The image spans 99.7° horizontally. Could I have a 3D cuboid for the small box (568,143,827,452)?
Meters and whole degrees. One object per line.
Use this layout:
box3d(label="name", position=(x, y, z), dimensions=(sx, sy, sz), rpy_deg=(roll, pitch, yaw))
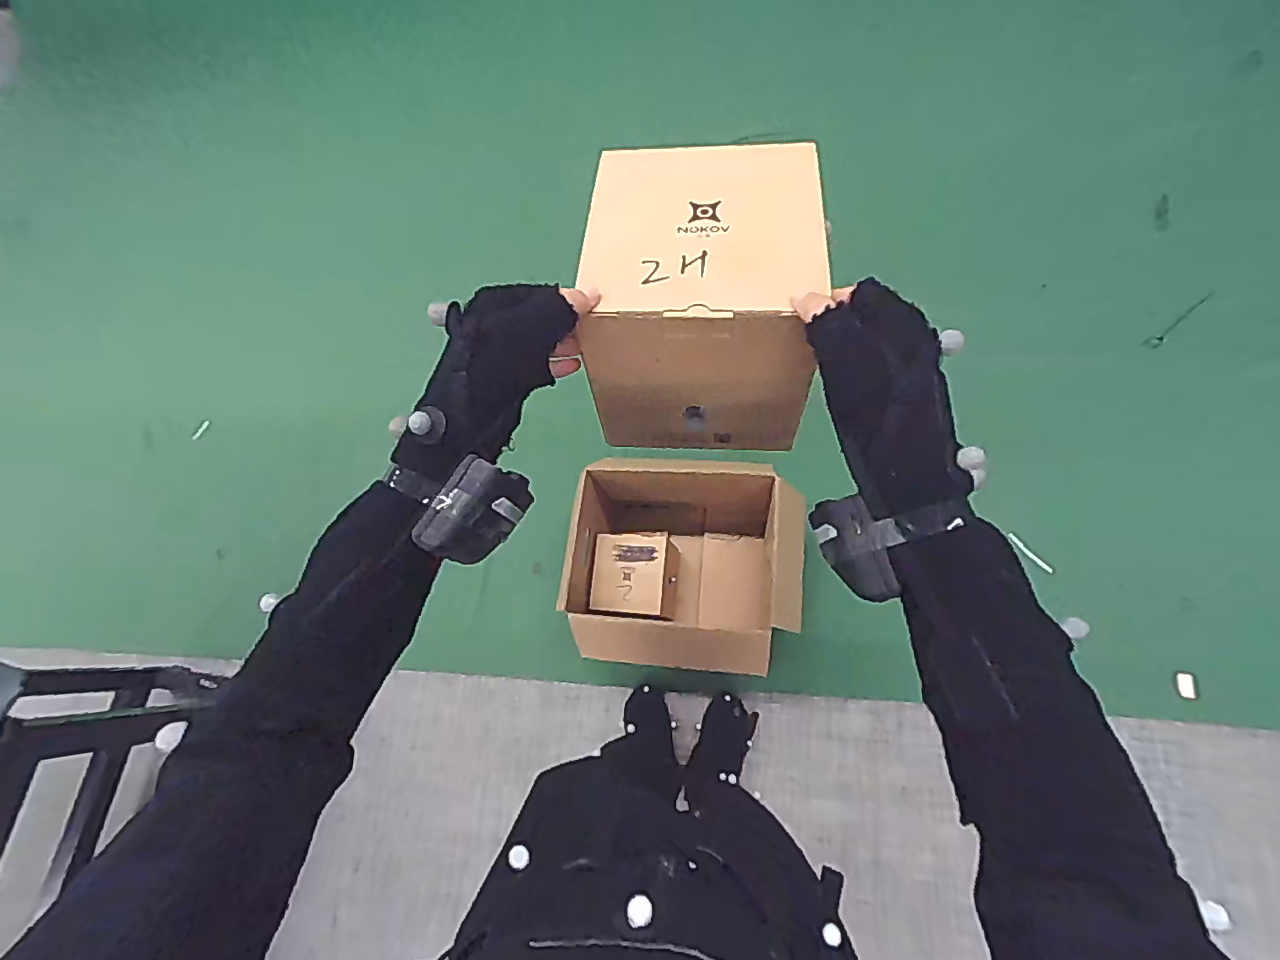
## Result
box3d(label="small box", position=(0.049, -0.143, 0.446), dimensions=(0.168, 0.176, 0.179), rpy_deg=(3, 62, 7))
